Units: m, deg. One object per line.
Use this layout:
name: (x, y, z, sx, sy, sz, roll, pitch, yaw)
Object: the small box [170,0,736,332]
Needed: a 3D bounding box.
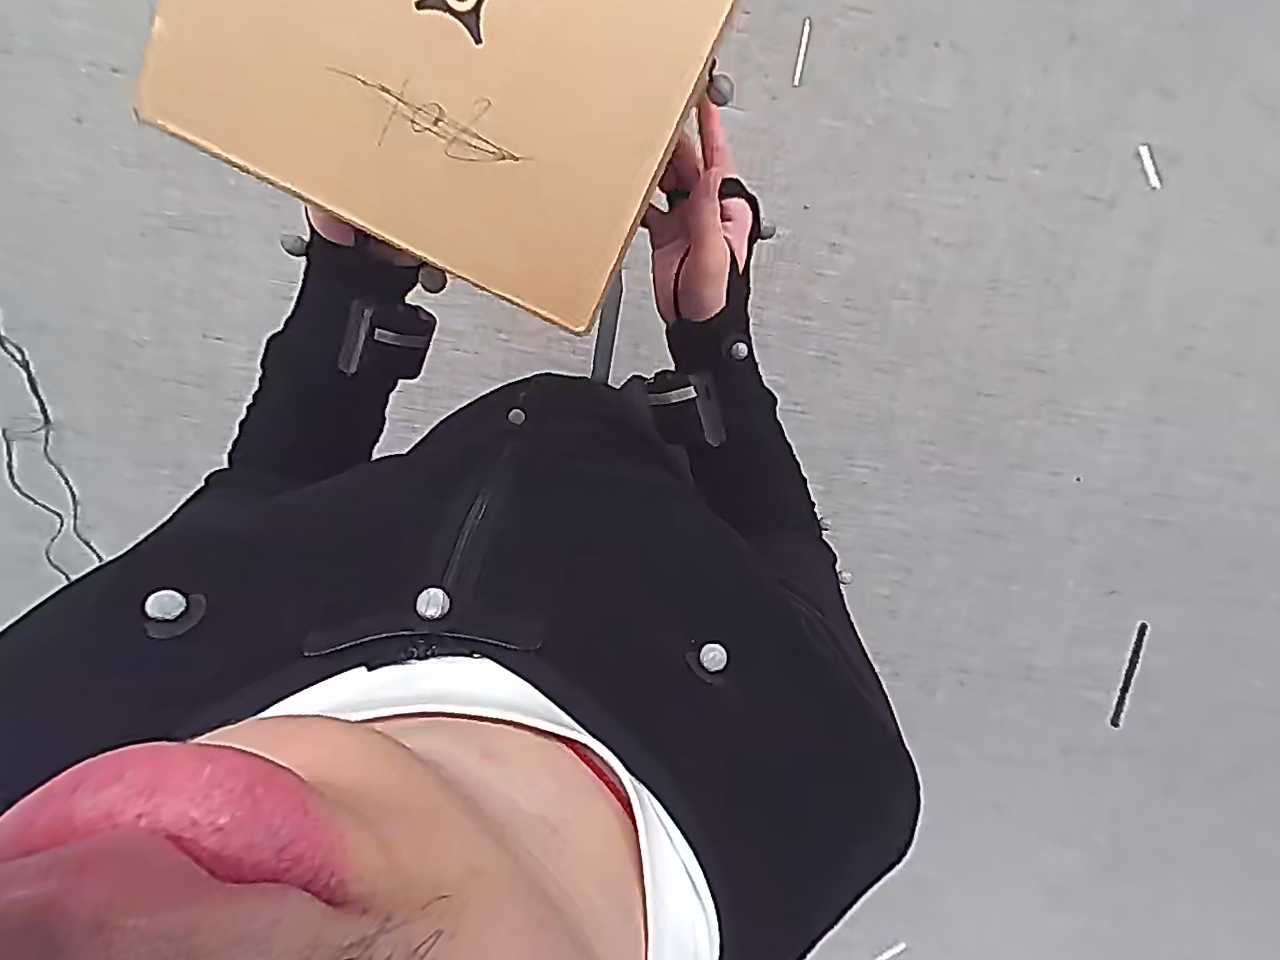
small box: (-0.065, -0.189, 0.267, 0.168, 0.176, 0.179, 23, 102, -10)
